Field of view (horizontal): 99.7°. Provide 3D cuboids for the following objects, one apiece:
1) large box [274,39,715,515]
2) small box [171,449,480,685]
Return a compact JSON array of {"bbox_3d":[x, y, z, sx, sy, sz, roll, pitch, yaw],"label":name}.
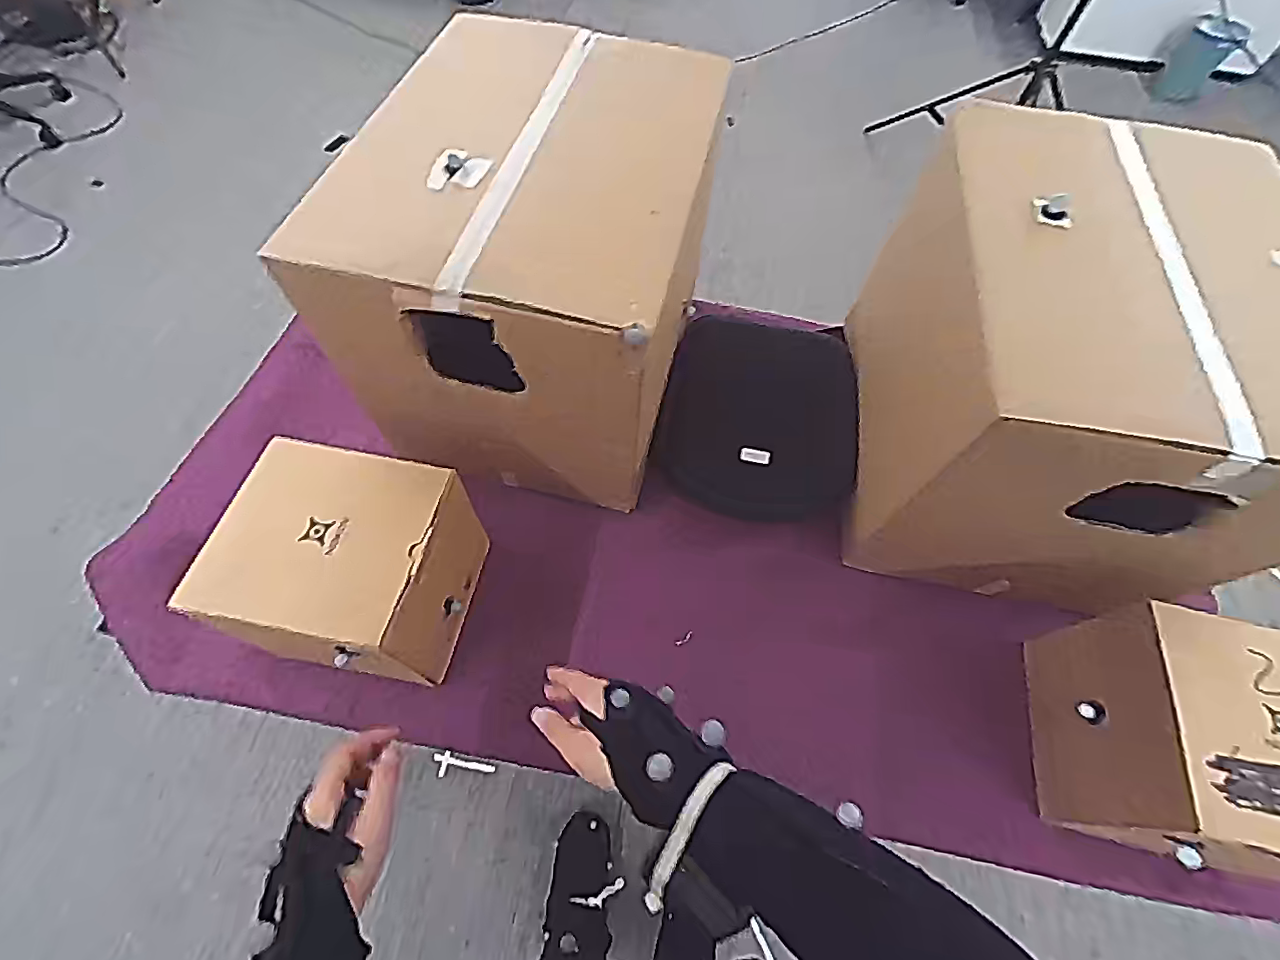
[{"bbox_3d":[-0.111,-0.222,0.640,0.320,0.320,0.408,12,64,4],"label":"large box"},{"bbox_3d":[-0.280,0.093,0.534,0.179,0.176,0.168,10,60,2],"label":"small box"}]
